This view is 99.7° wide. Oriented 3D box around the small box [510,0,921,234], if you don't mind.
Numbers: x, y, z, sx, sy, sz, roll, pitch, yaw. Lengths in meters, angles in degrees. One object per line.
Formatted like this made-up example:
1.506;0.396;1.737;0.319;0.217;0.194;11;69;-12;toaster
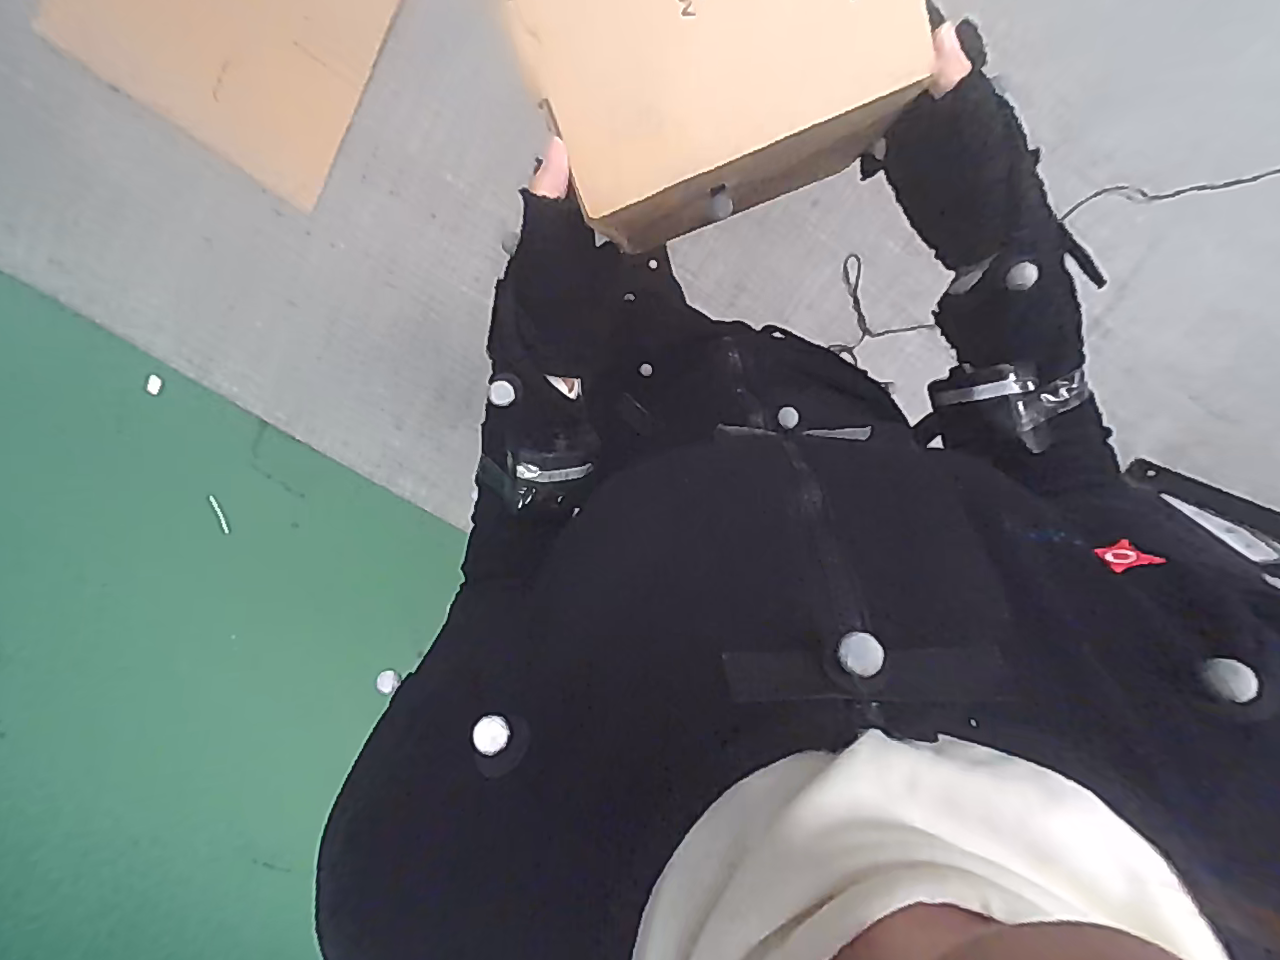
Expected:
0.032;-0.272;0.325;0.179;0.176;0.168;-20;101;12;small box
